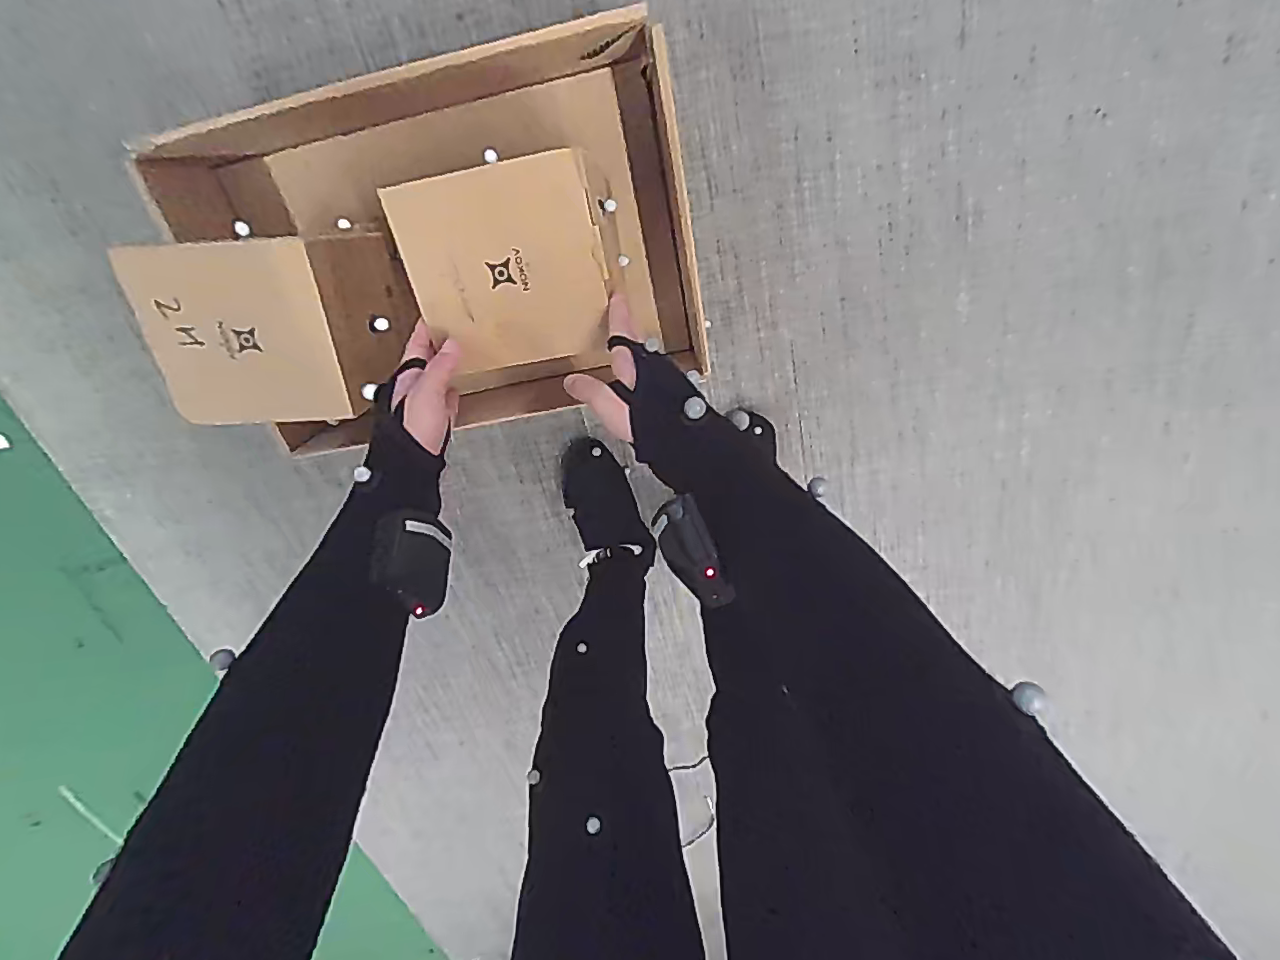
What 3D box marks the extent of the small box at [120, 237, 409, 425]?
[{"bbox_3d":[-0.367,-0.166,0.578,0.179,0.176,0.168,-2,115,1],"label":"small box"}]
